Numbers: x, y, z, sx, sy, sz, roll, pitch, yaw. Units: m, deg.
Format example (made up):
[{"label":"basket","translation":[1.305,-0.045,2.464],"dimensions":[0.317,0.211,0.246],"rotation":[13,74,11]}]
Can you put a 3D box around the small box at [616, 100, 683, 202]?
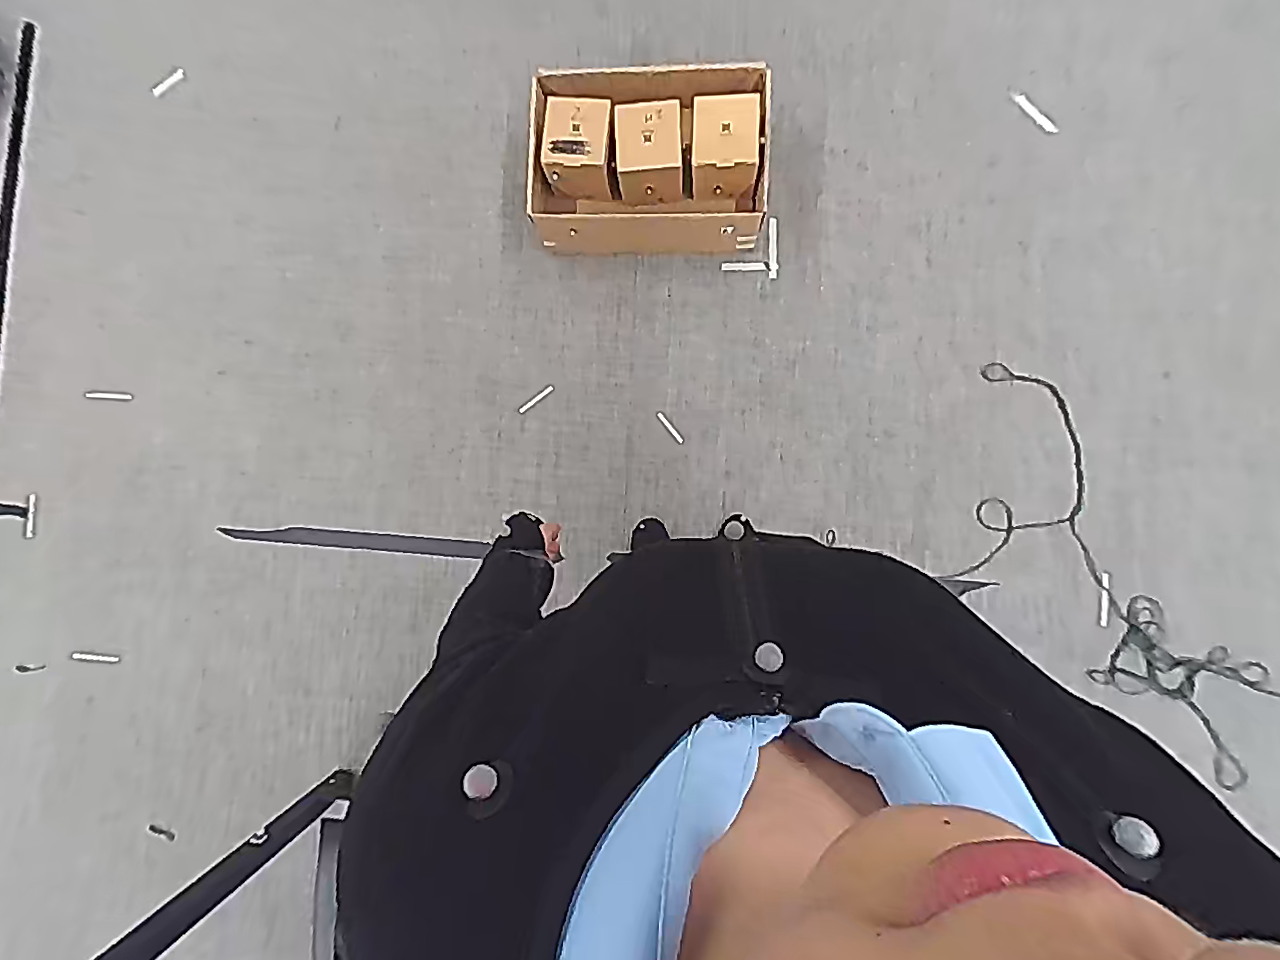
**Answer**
[{"label":"small box","translation":[0.029,-0.861,1.436],"dimensions":[0.168,0.176,0.179],"rotation":[-2,87,4]}]

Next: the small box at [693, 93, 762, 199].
[{"label":"small box","translation":[0.225,-0.868,1.419],"dimensions":[0.168,0.176,0.179],"rotation":[1,89,7]}]
